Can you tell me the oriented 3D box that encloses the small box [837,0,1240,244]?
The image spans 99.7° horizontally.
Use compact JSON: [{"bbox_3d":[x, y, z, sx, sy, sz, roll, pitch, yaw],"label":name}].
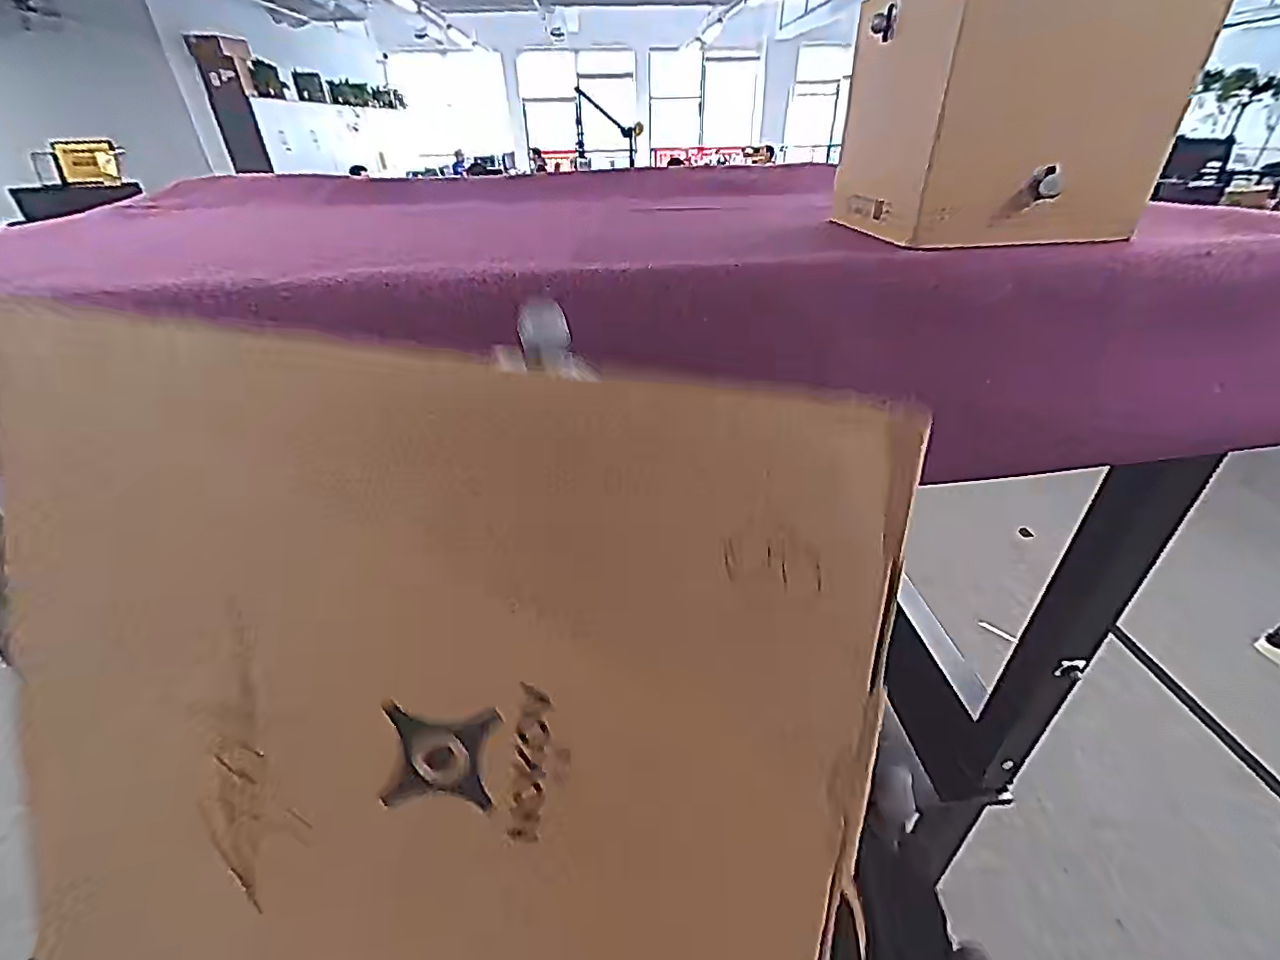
[{"bbox_3d":[0.280,-0.290,0.425,0.179,0.176,0.168,-3,32,-3],"label":"small box"}]
